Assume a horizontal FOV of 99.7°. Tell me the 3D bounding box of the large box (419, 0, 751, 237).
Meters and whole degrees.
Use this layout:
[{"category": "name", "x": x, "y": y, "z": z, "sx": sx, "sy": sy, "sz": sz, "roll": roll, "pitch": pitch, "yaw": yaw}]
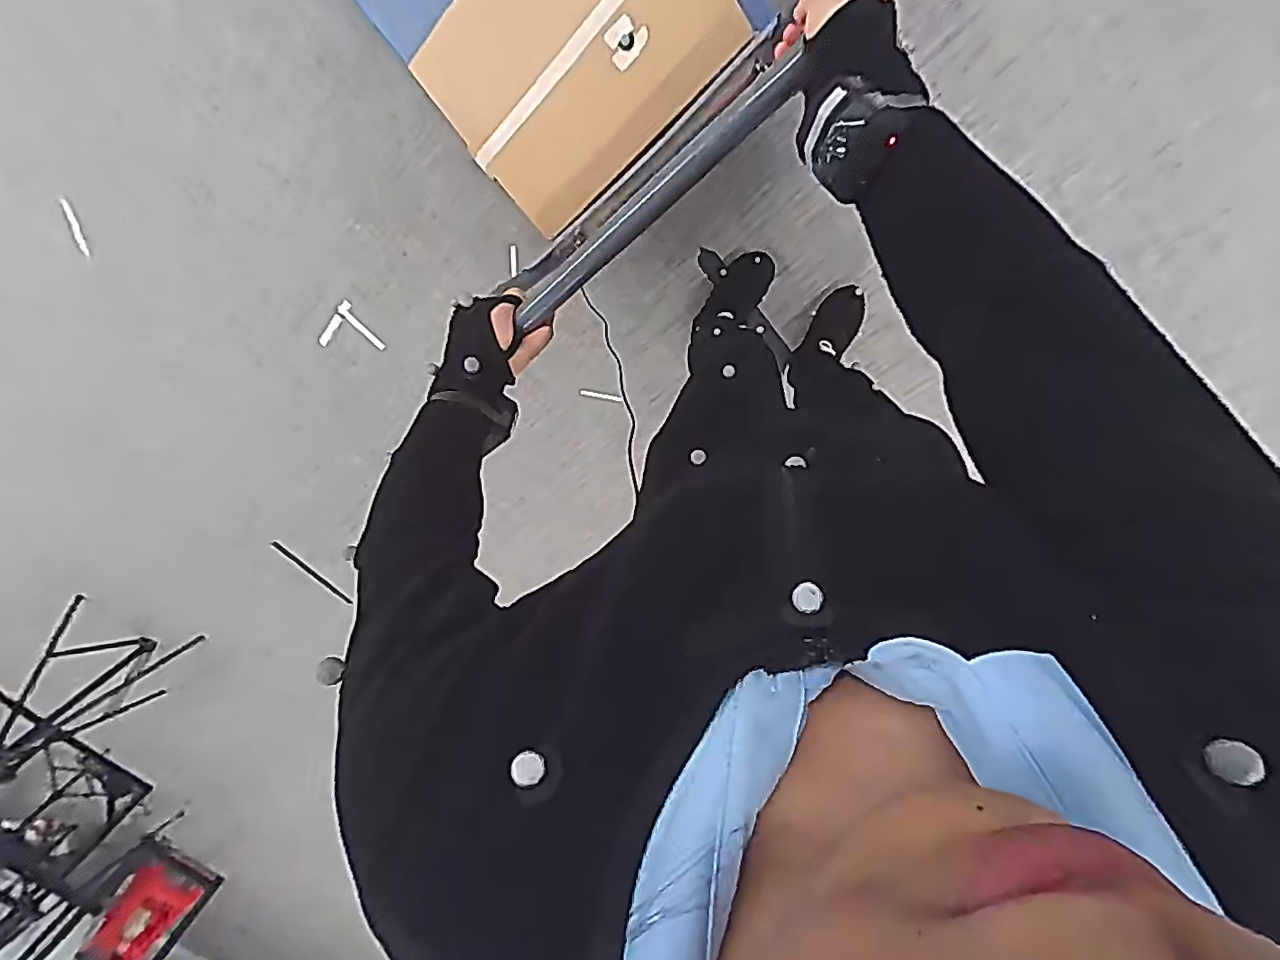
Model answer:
[{"category": "large box", "x": -0.068, "y": -0.676, "z": 0.896, "sx": 0.408, "sy": 0.320, "sz": 0.320, "roll": -34, "pitch": 108, "yaw": 25}]
